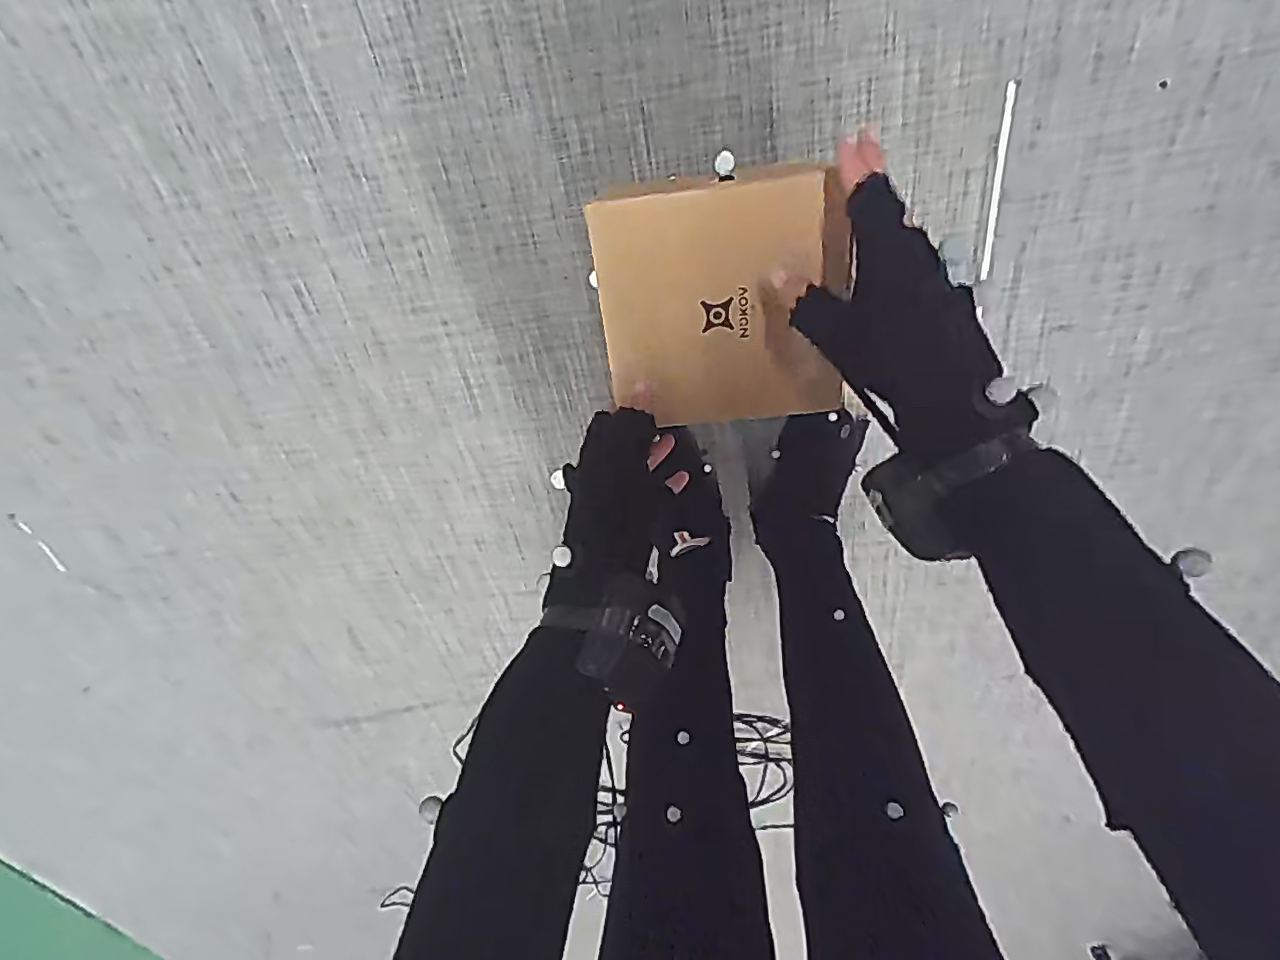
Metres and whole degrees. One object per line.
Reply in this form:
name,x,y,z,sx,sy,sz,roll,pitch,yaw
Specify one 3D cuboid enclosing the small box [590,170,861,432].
small box,0.065,-0.154,0.453,0.179,0.176,0.168,-6,120,5
